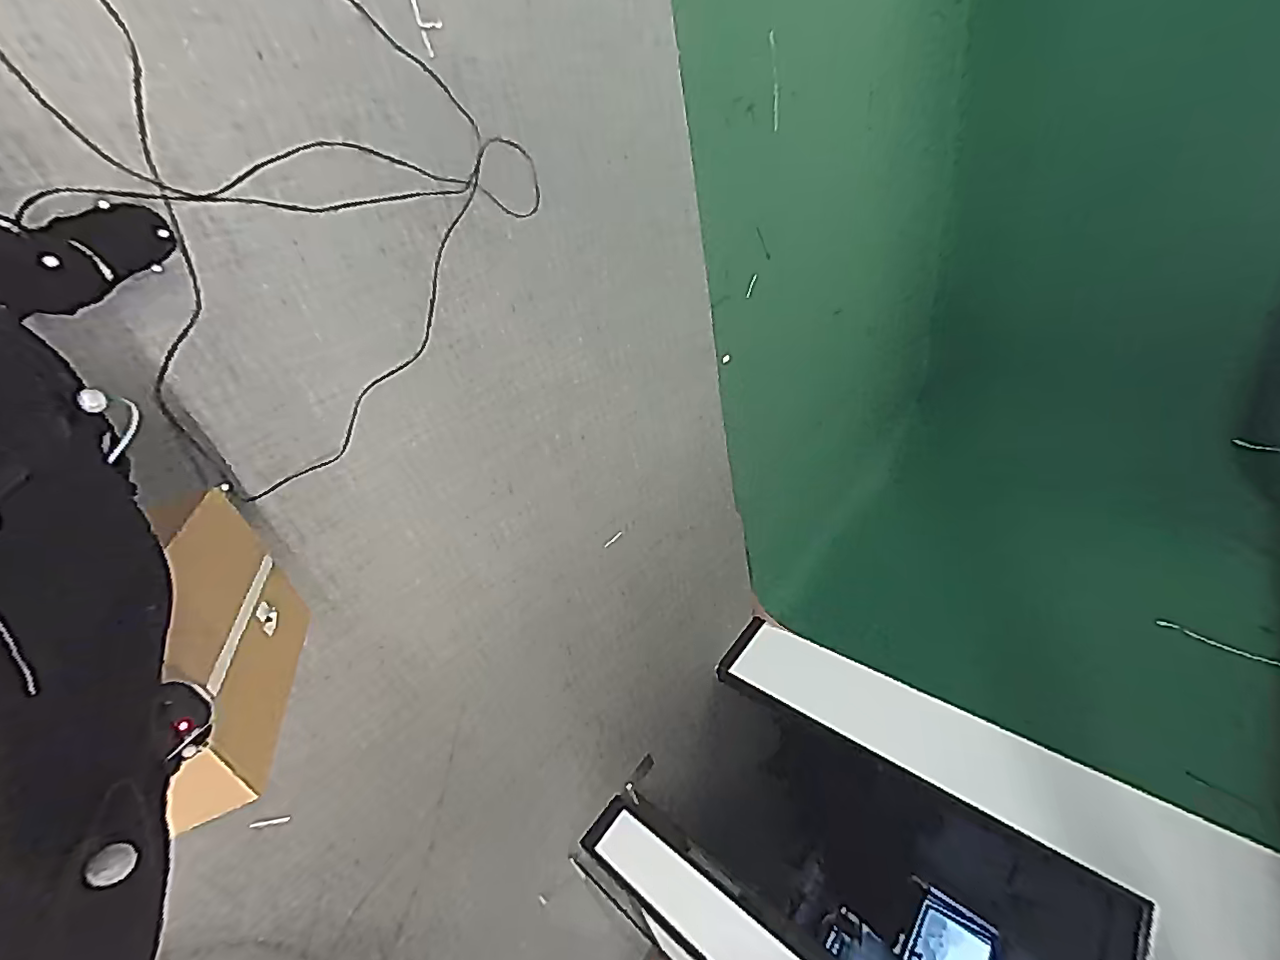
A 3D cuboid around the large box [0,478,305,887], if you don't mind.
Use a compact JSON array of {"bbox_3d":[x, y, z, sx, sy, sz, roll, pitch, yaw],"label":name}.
[{"bbox_3d":[-0.759,0.258,0.796,0.320,0.408,0.320,-21,120,-13],"label":"large box"}]
